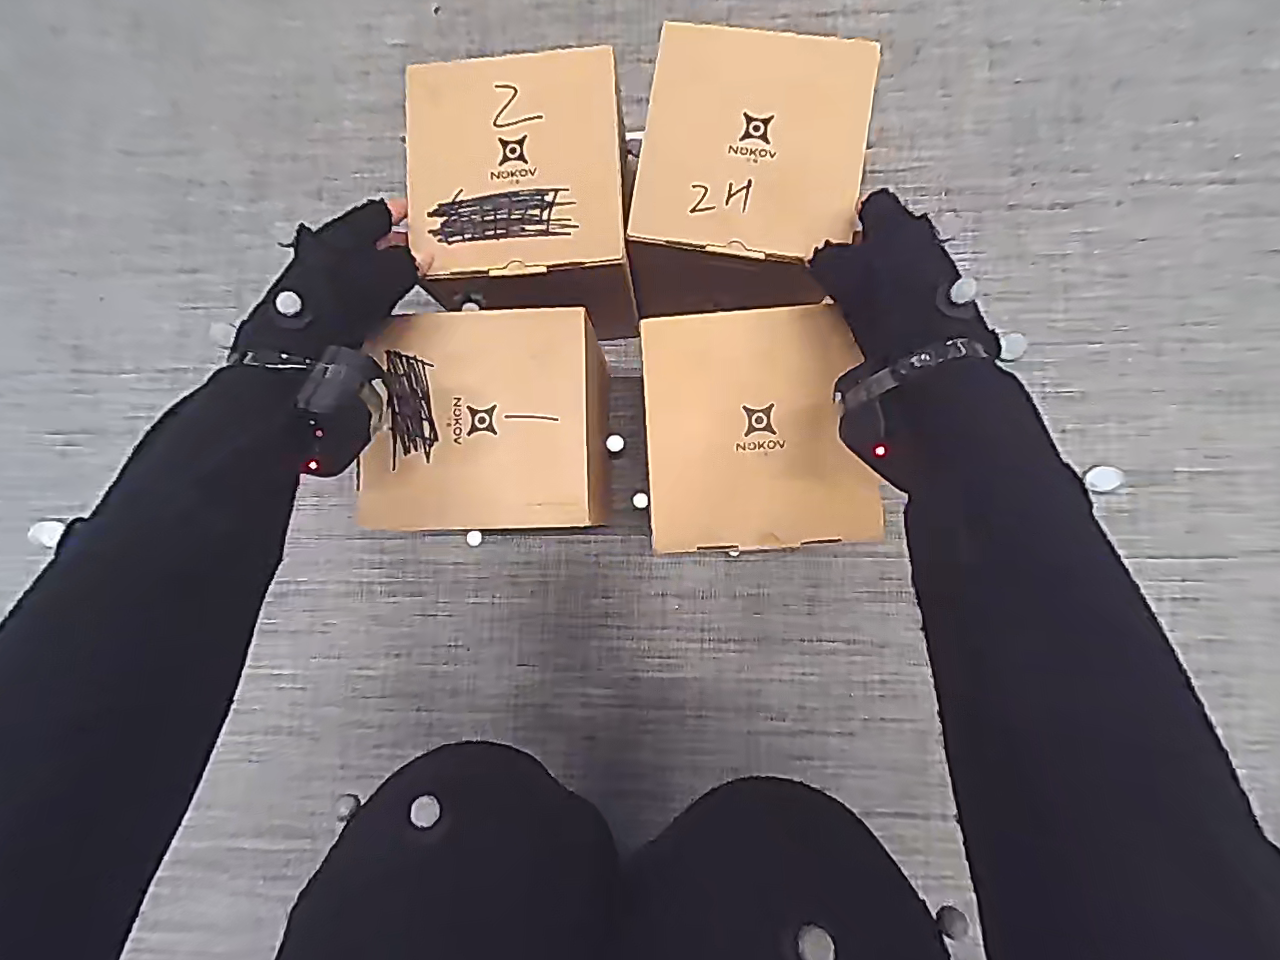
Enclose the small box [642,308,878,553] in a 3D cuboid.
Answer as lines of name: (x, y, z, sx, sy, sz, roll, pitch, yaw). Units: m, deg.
small box: (0.088, -0.032, 0.474, 0.168, 0.176, 0.179, -4, 87, 3)
